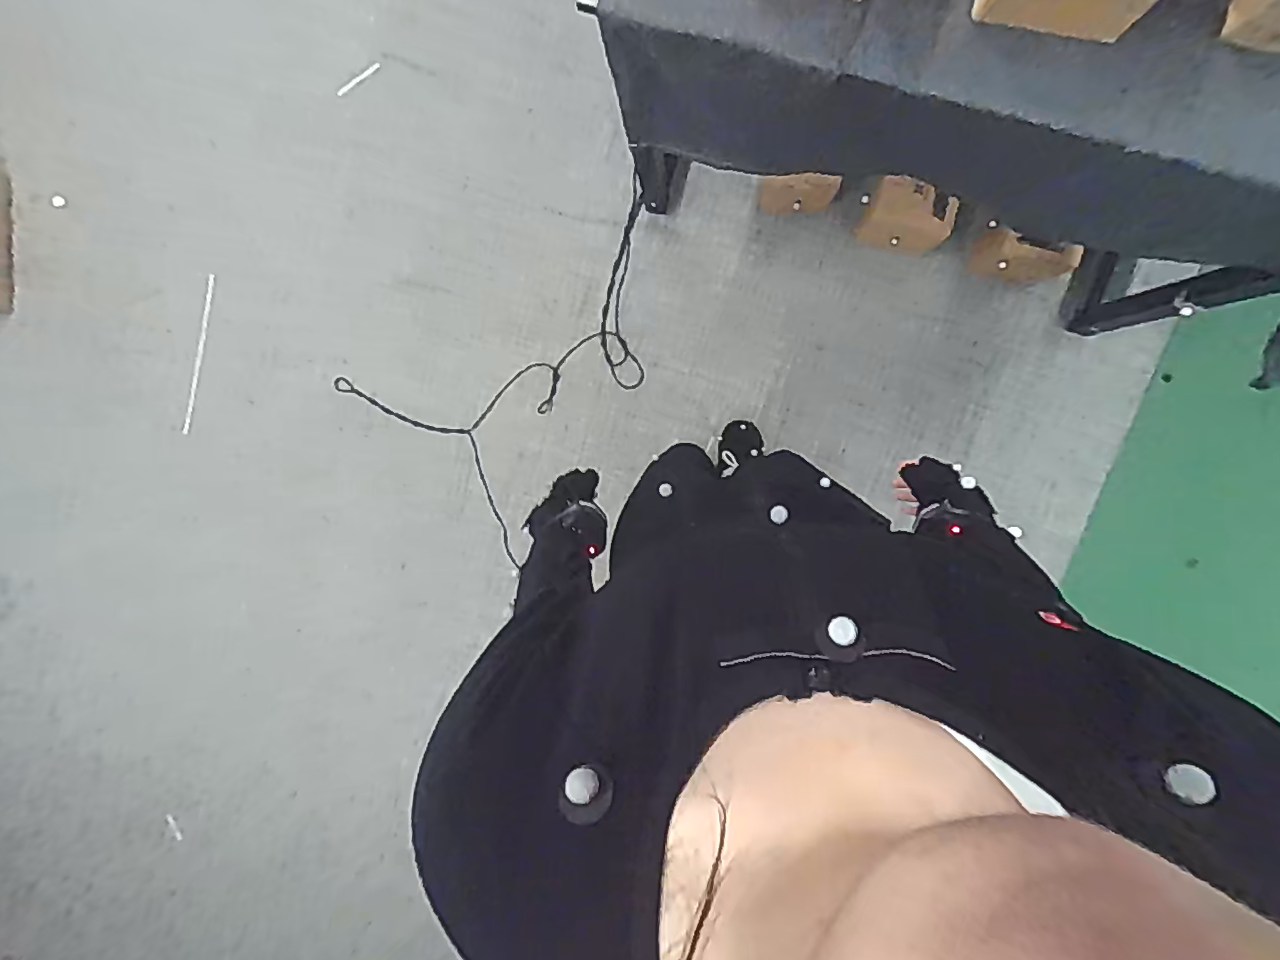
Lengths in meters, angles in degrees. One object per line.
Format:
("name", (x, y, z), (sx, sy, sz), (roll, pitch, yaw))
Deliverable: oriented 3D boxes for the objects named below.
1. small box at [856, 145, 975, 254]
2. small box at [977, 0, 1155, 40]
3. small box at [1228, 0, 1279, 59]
("small box", (0.644, -0.656, 1.287), (0.179, 0.176, 0.168), (16, 98, 5))
("small box", (0.501, -0.616, 0.573), (0.179, 0.176, 0.168), (13, 97, 4))
("small box", (0.779, -0.570, 0.548), (0.168, 0.176, 0.179), (15, 98, 5))
